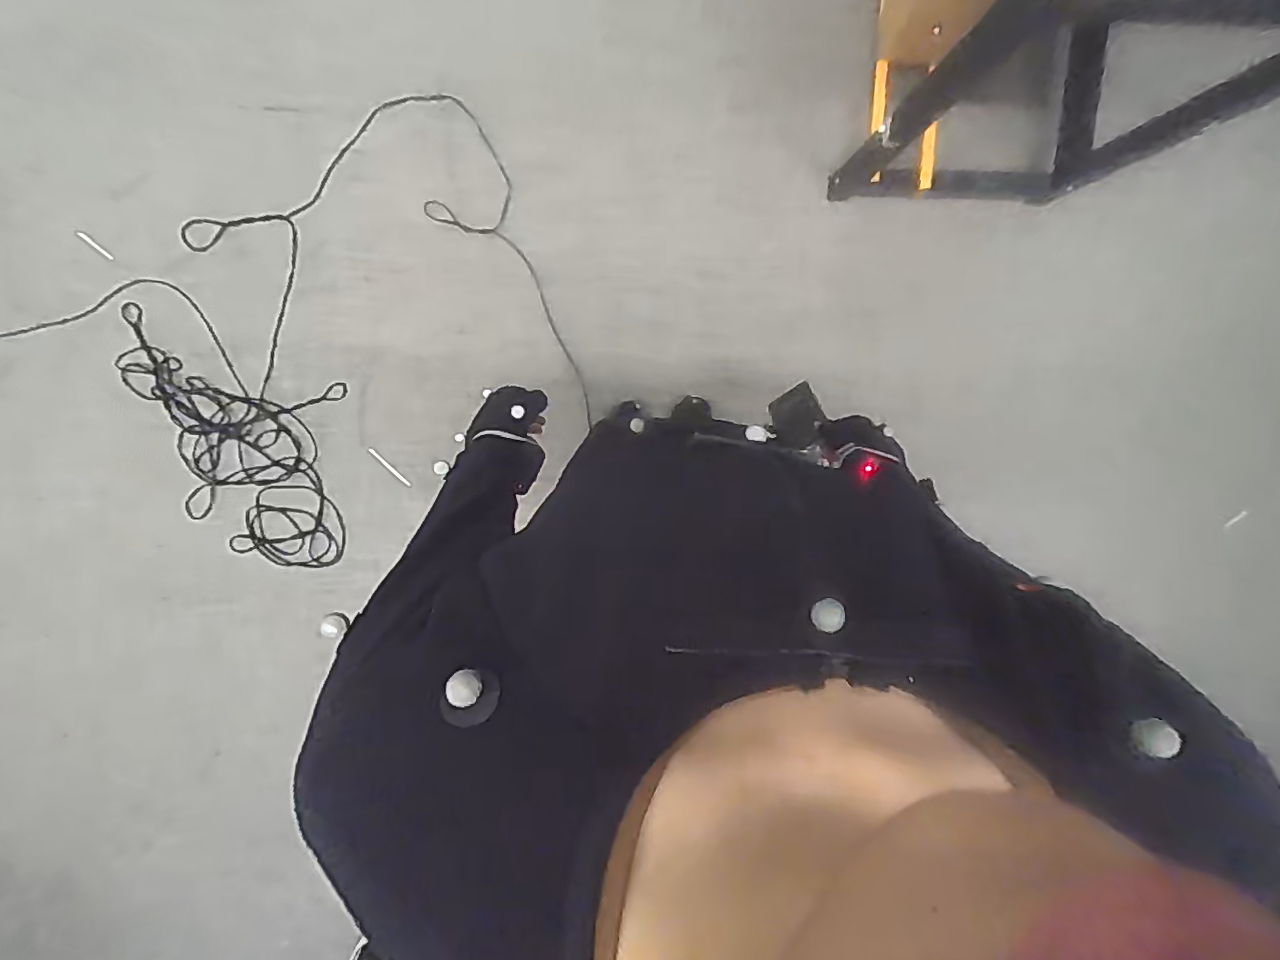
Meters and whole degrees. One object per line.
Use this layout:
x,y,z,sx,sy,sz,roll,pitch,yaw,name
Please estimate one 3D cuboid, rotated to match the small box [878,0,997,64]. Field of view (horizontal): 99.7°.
0.634,-1.031,1.156,0.179,0.176,0.168,4,98,-2,small box
